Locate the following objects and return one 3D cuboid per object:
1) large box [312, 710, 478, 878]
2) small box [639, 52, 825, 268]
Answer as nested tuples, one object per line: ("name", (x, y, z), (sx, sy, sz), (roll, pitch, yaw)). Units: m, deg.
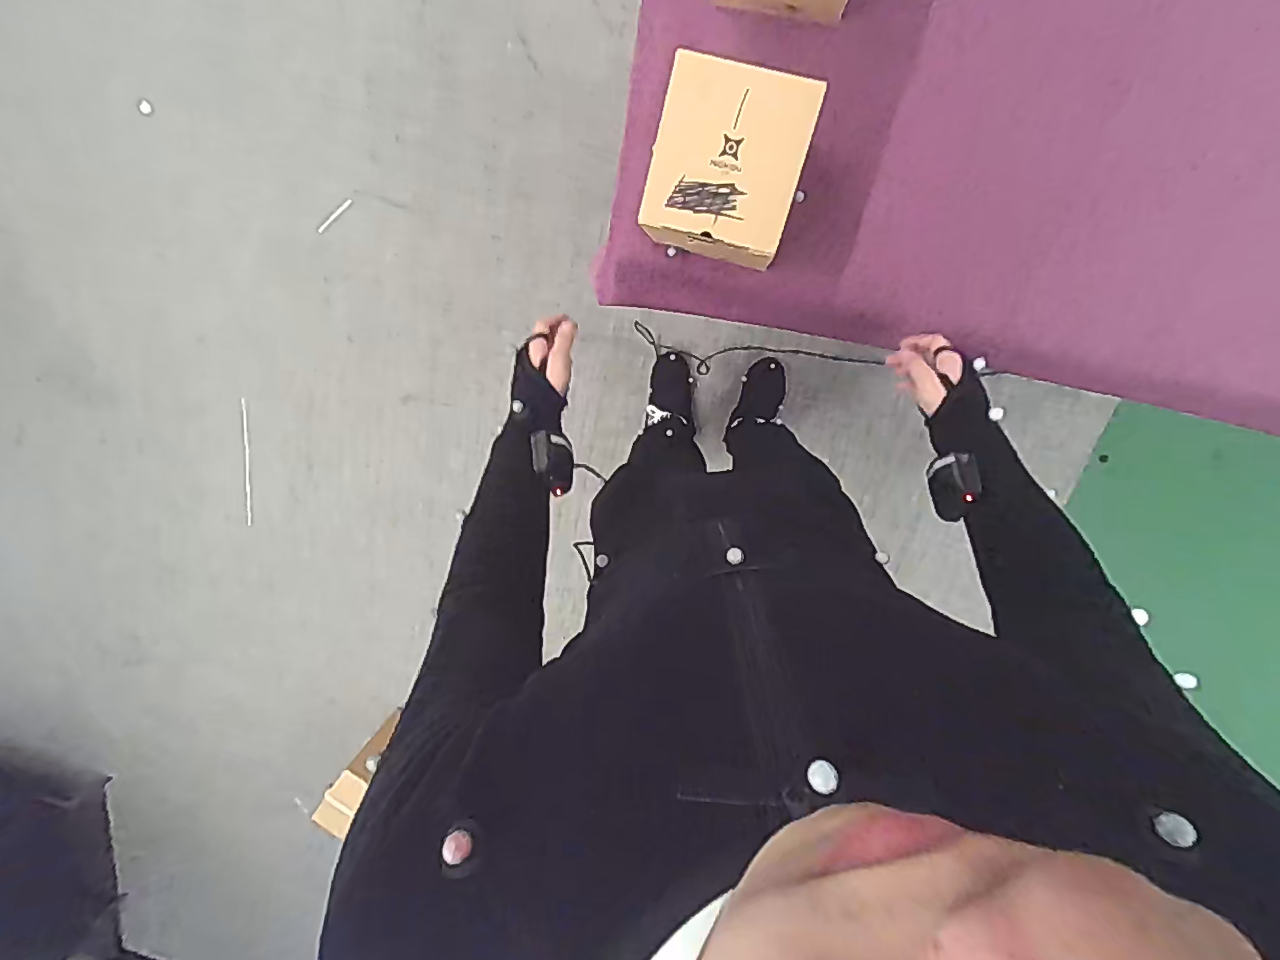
("large box", (-0.896, 1.152, 2.011), (0.408, 0.320, 0.320), (36, 110, -4))
("small box", (0.109, -0.374, 0.670), (0.168, 0.176, 0.179), (16, 107, 4))
